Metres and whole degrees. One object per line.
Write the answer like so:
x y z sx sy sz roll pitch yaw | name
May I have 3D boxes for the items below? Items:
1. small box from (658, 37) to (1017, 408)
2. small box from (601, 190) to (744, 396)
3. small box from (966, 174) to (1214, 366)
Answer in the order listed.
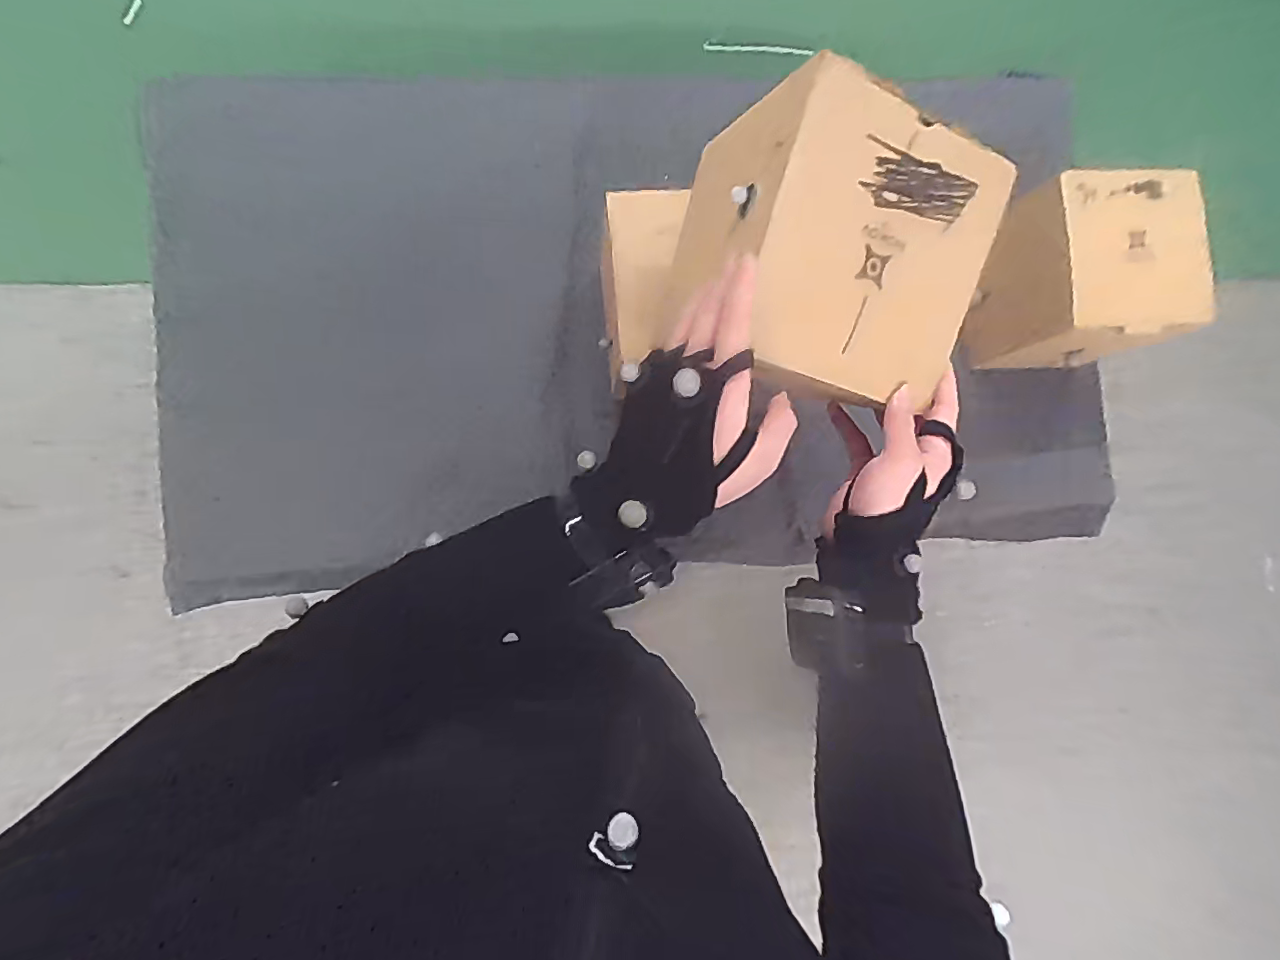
0.129 -0.167 0.414 0.168 0.176 0.179 14 98 -19 | small box
0.045 -0.198 0.616 0.168 0.176 0.179 -5 85 -7 | small box
0.528 -0.241 0.662 0.168 0.176 0.179 -3 86 -5 | small box
